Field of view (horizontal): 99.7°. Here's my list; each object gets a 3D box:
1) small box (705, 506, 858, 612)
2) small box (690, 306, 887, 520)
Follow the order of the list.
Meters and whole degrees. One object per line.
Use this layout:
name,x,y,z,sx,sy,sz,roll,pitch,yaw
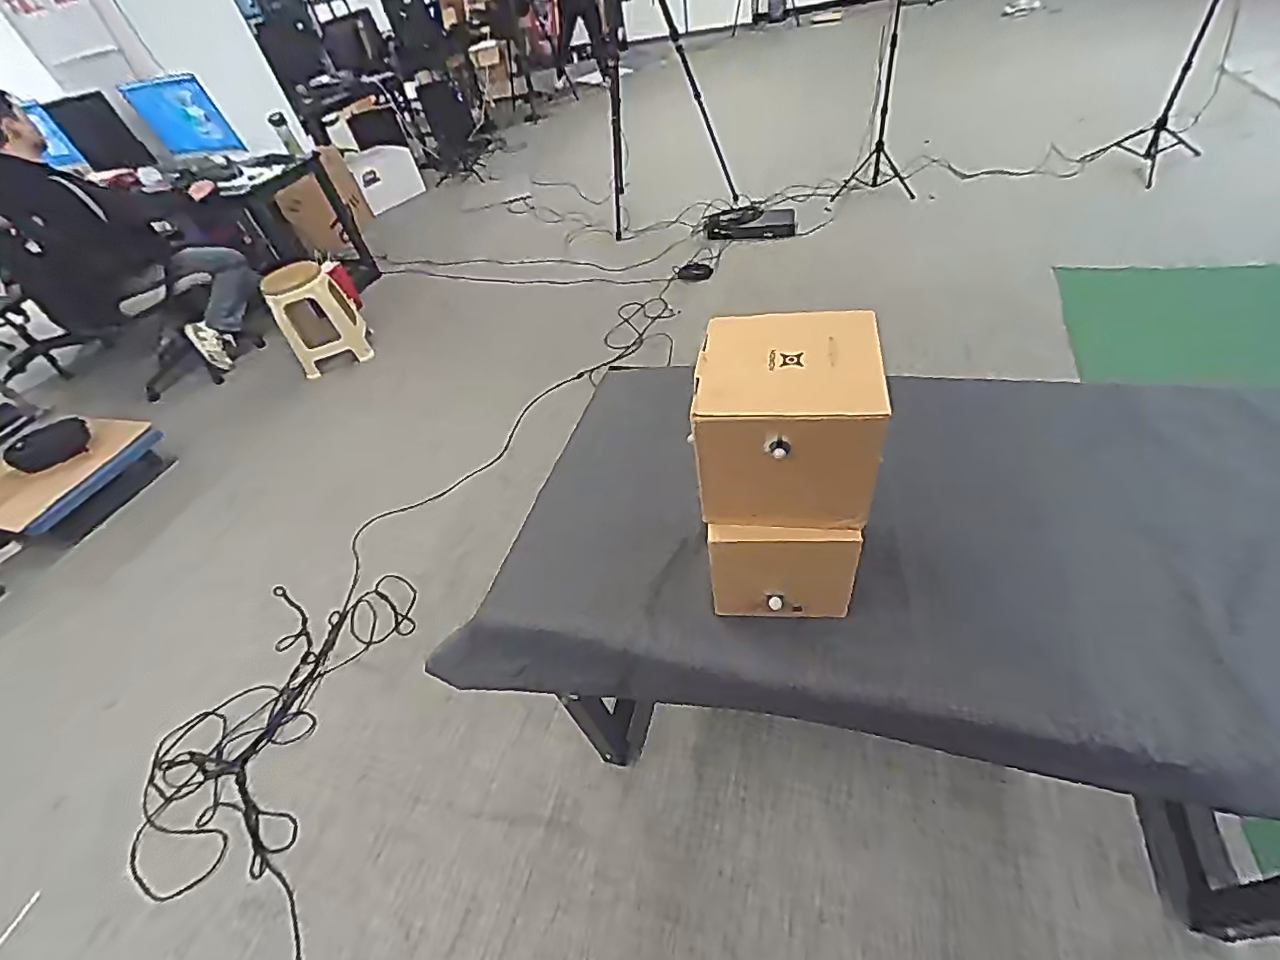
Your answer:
small box,0.175,0.050,0.703,0.168,0.176,0.179,-1,48,12
small box,0.158,-0.070,0.594,0.179,0.176,0.168,2,50,13
